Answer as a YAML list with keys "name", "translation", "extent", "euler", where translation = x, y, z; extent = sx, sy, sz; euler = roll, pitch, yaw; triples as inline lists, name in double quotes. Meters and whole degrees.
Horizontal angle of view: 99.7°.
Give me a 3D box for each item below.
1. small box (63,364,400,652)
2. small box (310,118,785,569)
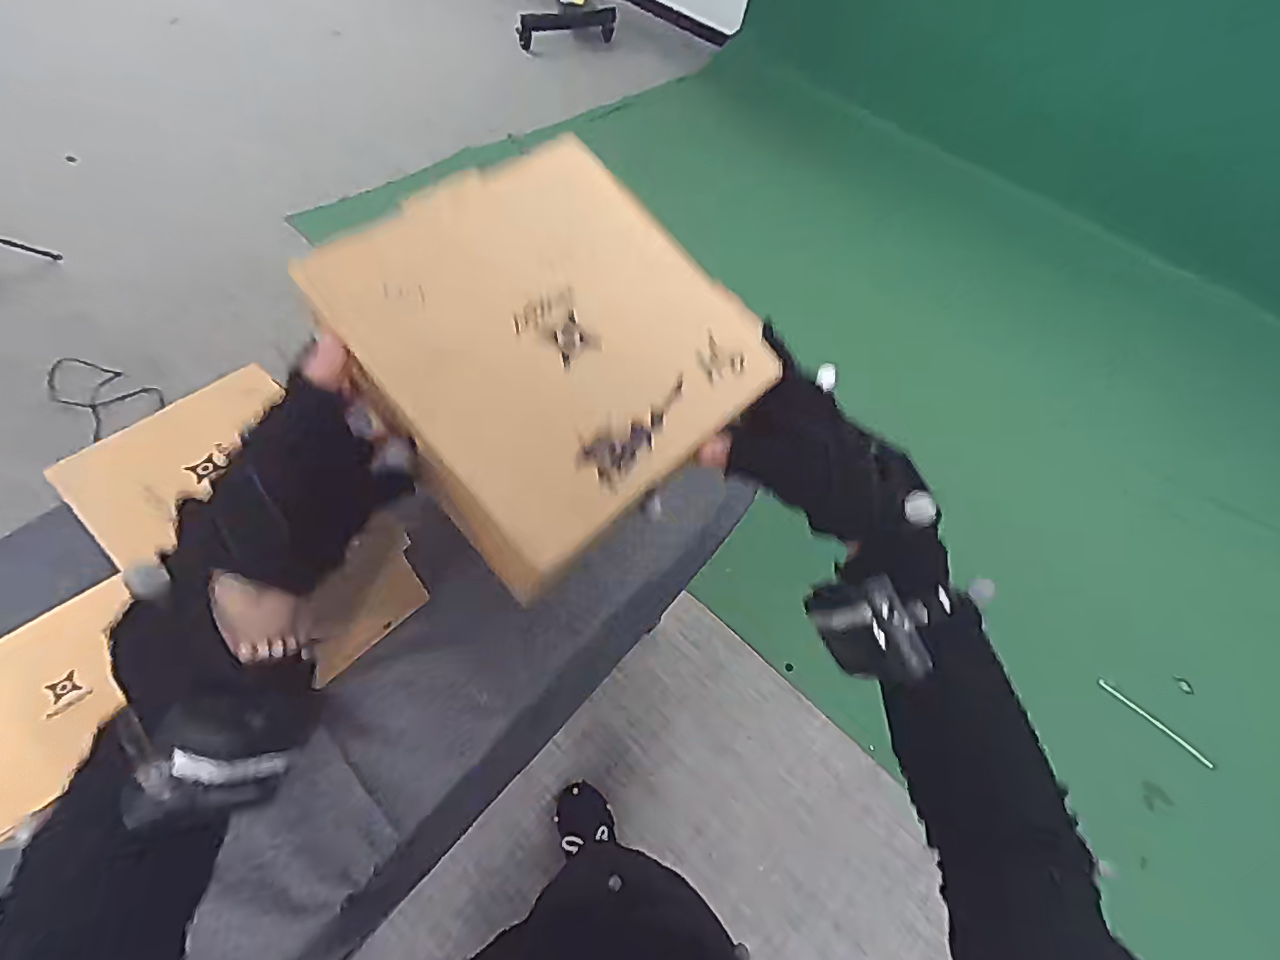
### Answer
- name: "small box"
  translation: [-0.357, 0.031, 0.517]
  extent: [0.168, 0.176, 0.179]
  euler: [38, 61, 17]
- name: "small box"
  translation: [-0.054, -0.066, 0.336]
  extent: [0.168, 0.176, 0.179]
  euler: [-40, 85, -22]
